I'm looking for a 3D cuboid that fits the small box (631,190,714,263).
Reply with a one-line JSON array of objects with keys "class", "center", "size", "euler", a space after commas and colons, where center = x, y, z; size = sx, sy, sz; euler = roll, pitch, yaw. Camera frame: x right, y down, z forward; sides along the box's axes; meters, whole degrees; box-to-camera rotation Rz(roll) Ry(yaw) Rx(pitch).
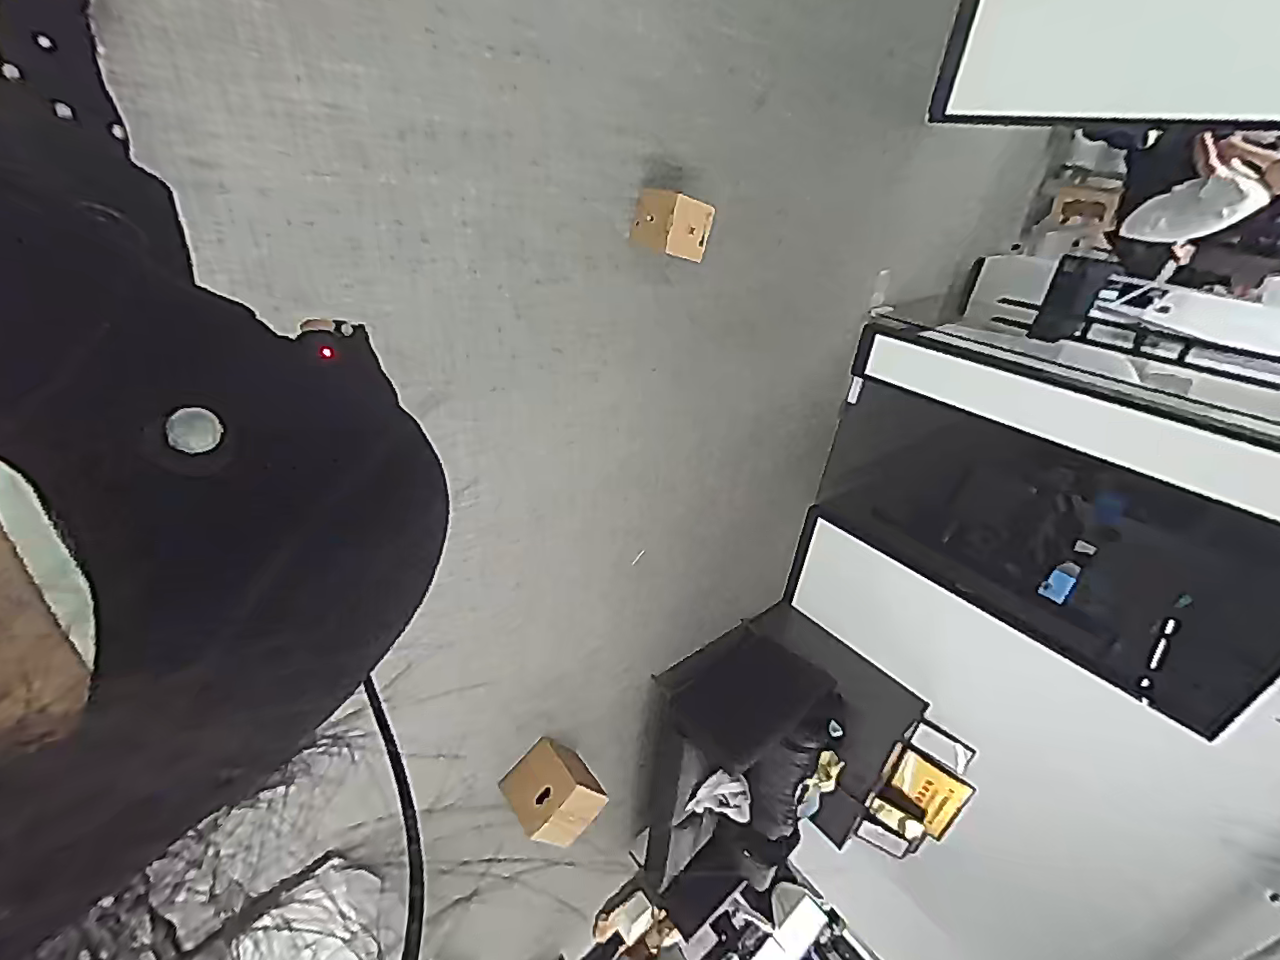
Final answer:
[{"class": "small box", "center": [0.096, -0.800, 1.700], "size": [0.179, 0.176, 0.168], "euler": [-6, 121, -42]}]
